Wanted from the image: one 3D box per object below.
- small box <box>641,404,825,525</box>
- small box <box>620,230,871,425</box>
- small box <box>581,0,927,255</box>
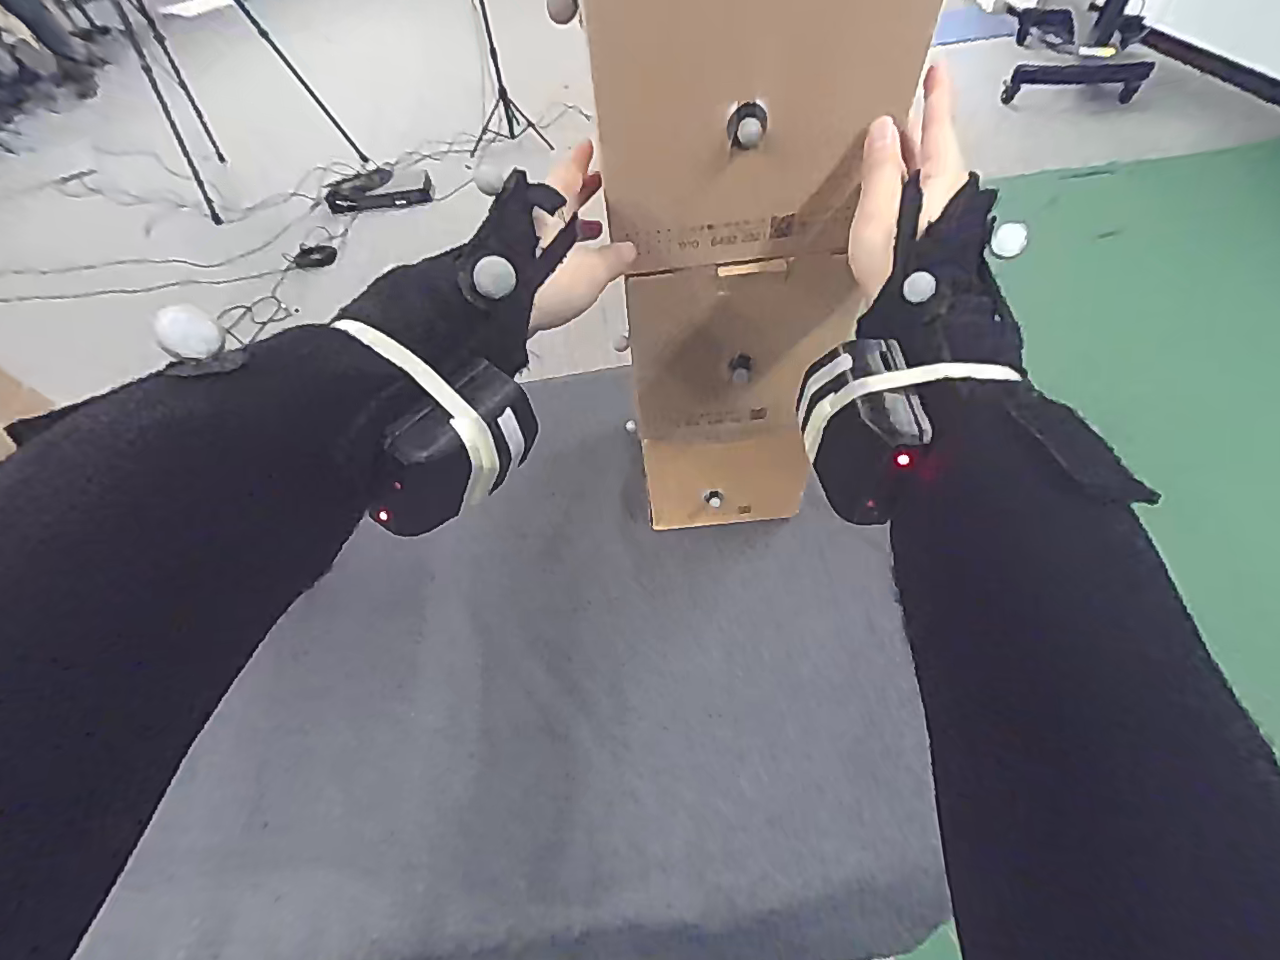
[{"bbox_3d":[0.085,-0.071,0.598,0.168,0.176,0.179,-6,55,1],"label":"small box"},{"bbox_3d":[0.071,-0.160,0.461,0.168,0.176,0.179,-5,56,1],"label":"small box"},{"bbox_3d":[0.053,-0.255,0.326,0.168,0.176,0.179,-7,55,0],"label":"small box"}]
